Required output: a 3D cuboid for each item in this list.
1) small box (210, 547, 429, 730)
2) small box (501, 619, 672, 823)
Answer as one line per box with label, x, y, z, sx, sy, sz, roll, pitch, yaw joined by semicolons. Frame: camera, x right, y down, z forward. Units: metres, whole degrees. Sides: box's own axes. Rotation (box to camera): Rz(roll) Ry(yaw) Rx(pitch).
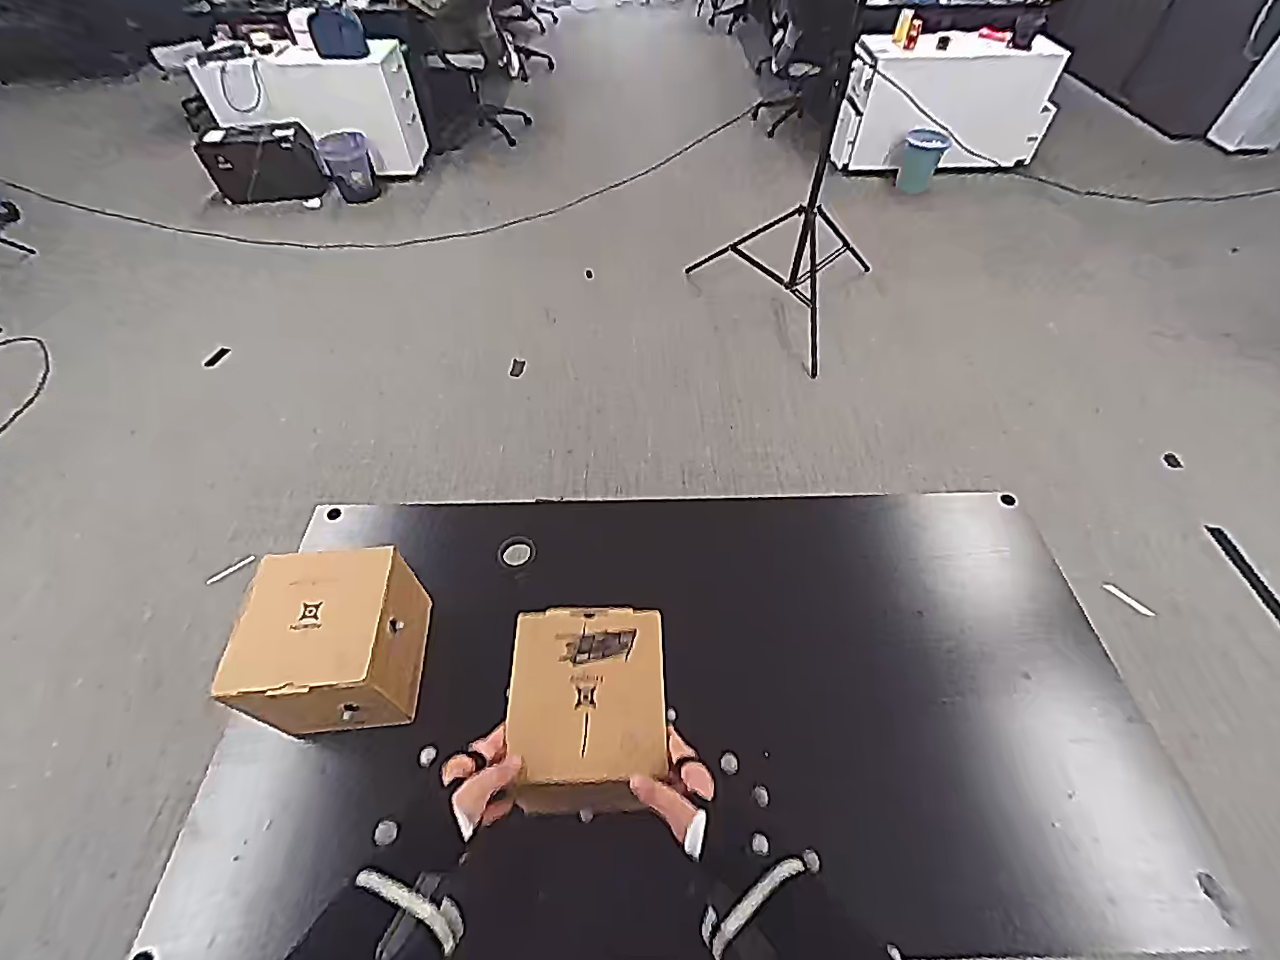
small box;-0.382;0.206;0.688;0.168;0.176;0.179;-3;51;-4
small box;-0.053;0.279;0.625;0.168;0.176;0.179;-1;50;-1
